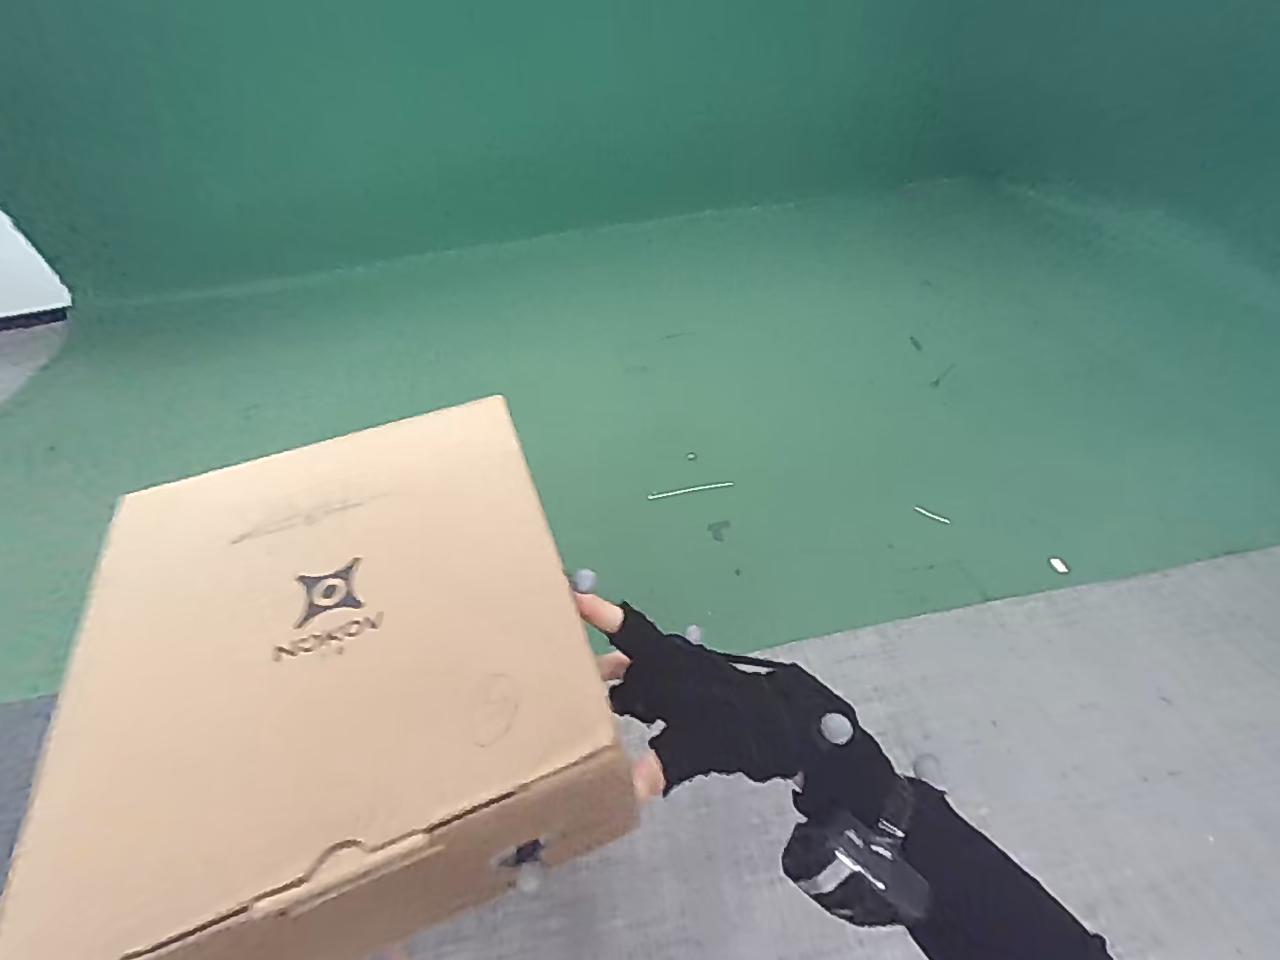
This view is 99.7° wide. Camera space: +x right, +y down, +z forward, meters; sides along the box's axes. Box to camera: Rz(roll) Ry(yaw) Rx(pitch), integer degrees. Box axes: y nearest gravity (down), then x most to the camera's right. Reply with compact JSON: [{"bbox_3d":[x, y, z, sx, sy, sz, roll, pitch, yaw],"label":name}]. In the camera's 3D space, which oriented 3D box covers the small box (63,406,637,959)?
[{"bbox_3d":[-0.105,0.098,0.271,0.168,0.176,0.179,-17,52,-12],"label":"small box"}]
